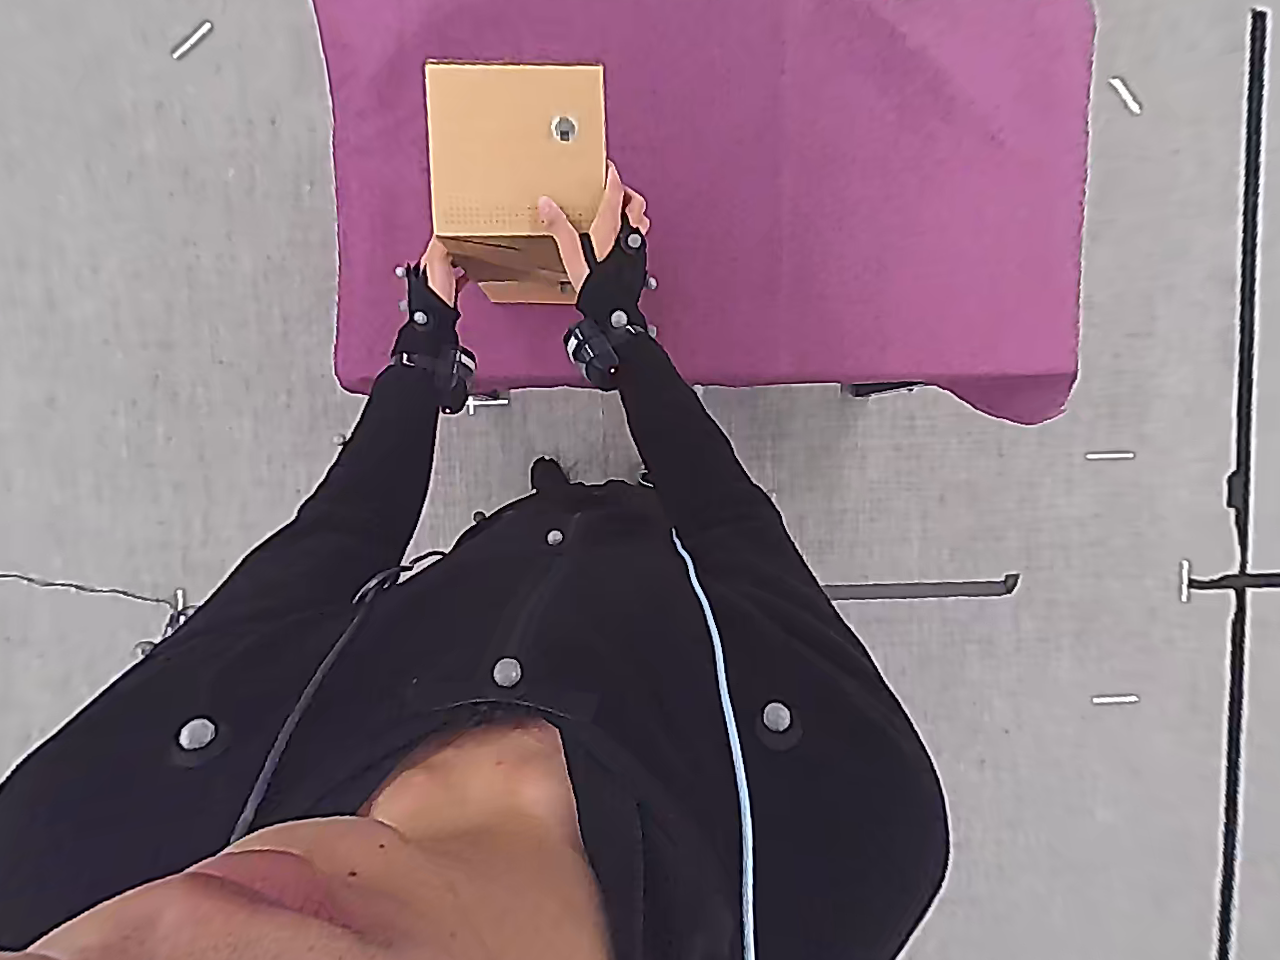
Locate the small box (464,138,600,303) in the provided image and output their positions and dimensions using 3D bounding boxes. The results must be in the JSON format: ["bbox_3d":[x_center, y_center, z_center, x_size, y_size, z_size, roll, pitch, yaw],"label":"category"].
[{"bbox_3d":[-0.147,-0.363,0.785,0.179,0.176,0.168,0,94,-3],"label":"small box"}]
